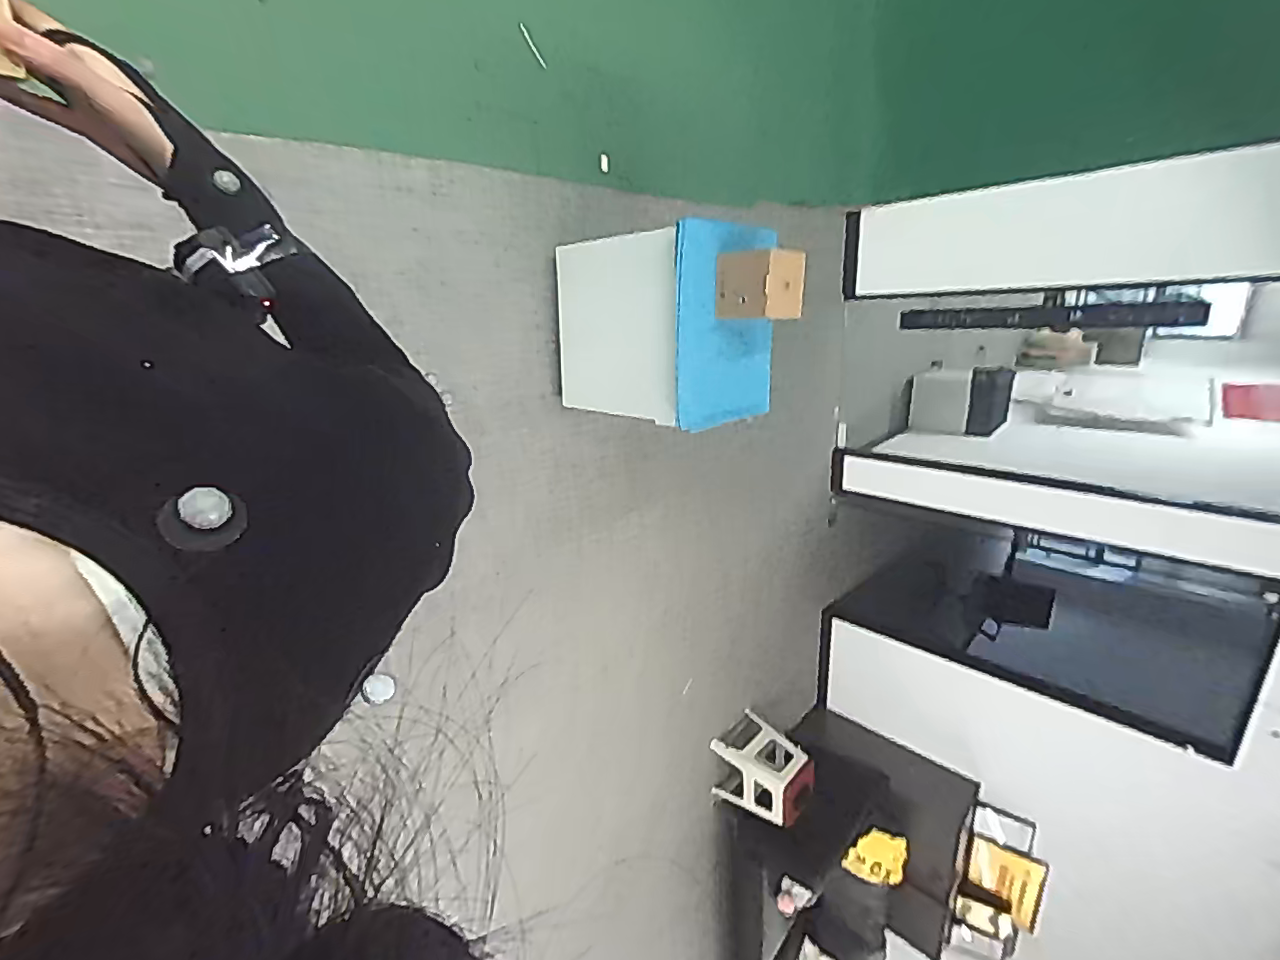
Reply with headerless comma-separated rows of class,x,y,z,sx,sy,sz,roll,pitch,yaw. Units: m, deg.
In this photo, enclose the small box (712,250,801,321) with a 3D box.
small box,0.307,-0.511,1.440,0.179,0.176,0.168,-17,114,-44
